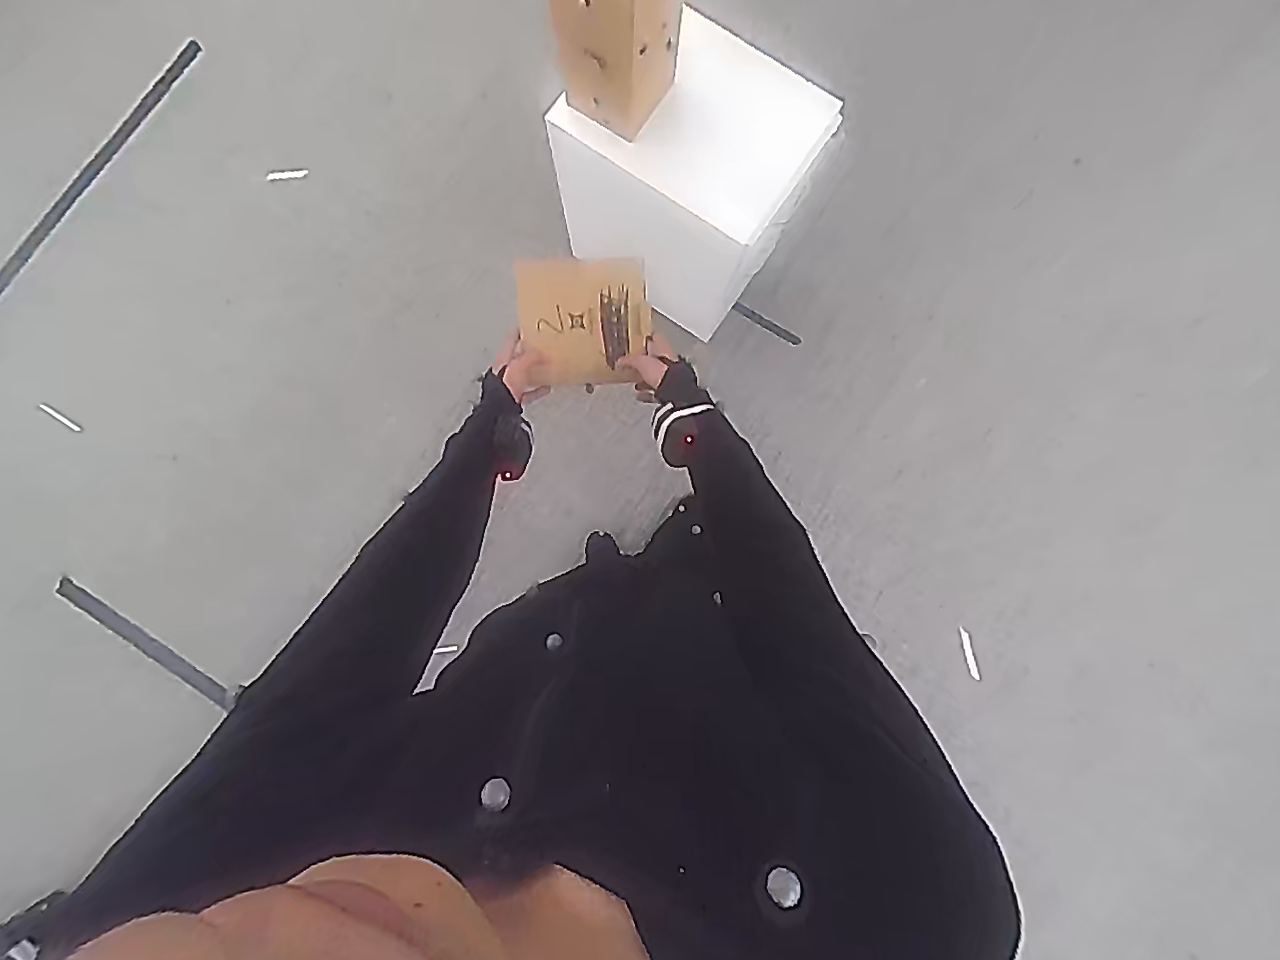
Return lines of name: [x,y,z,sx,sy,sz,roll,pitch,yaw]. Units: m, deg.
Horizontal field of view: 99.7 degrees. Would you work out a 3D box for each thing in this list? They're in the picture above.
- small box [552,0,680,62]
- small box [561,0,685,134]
small box: [-0.036,-0.845,0.887,0.179,0.176,0.168,34,85,3]
small box: [-0.034,-0.833,1.051,0.168,0.176,0.179,33,85,3]
